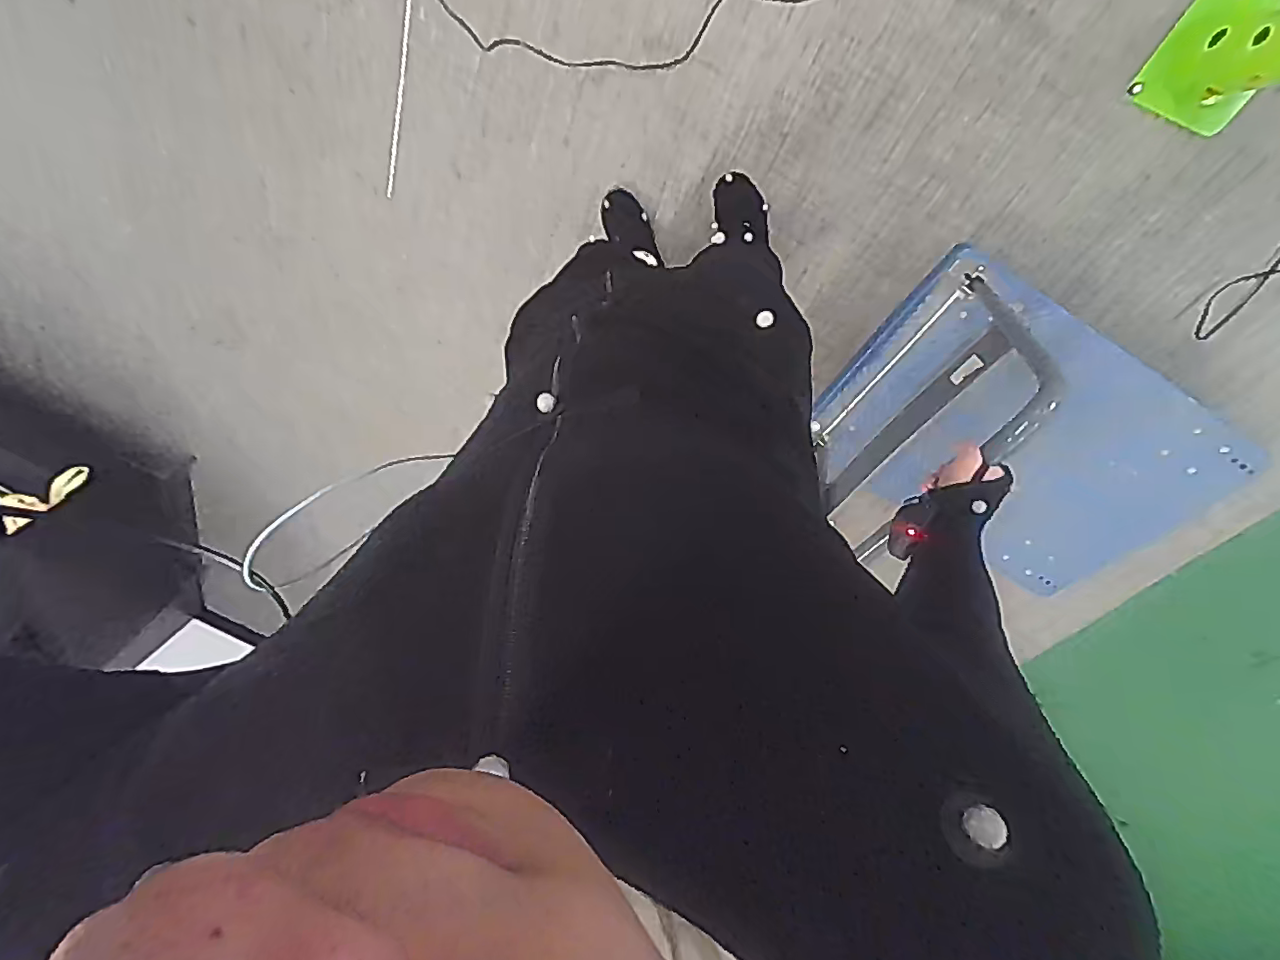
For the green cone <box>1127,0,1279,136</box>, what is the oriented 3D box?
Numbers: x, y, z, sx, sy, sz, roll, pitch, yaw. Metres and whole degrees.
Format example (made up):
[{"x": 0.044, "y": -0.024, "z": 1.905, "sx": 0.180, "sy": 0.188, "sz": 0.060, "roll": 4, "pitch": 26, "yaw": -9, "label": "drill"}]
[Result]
[{"x": 1.011, "y": -0.679, "z": 0.848, "sx": 0.200, "sy": 0.368, "sz": 0.202, "roll": 25, "pitch": 126, "yaw": -1, "label": "green cone"}]
